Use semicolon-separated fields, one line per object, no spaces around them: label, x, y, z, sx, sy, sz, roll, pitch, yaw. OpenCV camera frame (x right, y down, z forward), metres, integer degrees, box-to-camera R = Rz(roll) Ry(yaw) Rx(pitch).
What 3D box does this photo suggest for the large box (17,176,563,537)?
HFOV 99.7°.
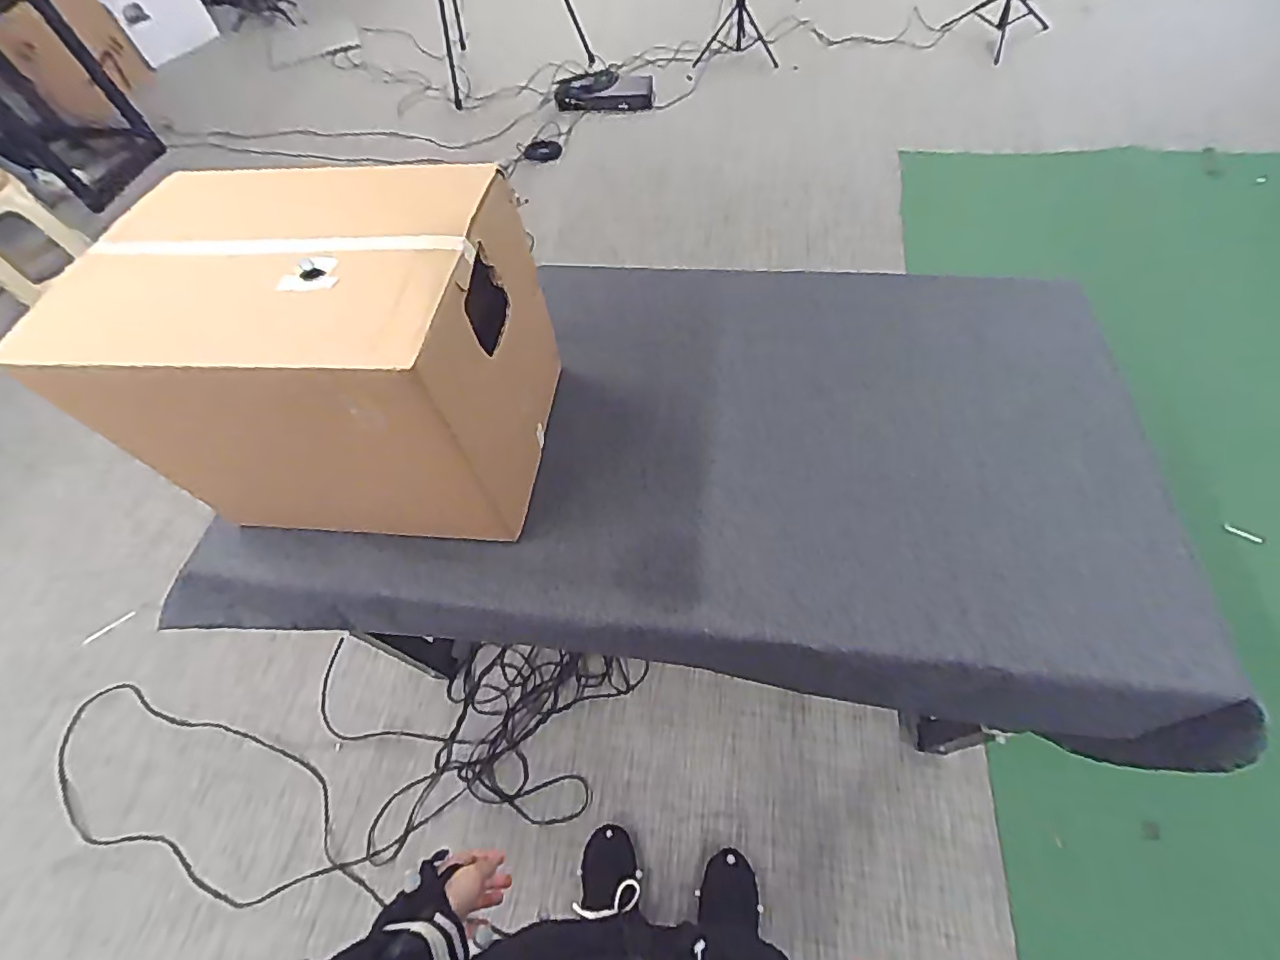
large box;-0.338;-0.139;0.666;0.408;0.320;0.320;3;58;6
